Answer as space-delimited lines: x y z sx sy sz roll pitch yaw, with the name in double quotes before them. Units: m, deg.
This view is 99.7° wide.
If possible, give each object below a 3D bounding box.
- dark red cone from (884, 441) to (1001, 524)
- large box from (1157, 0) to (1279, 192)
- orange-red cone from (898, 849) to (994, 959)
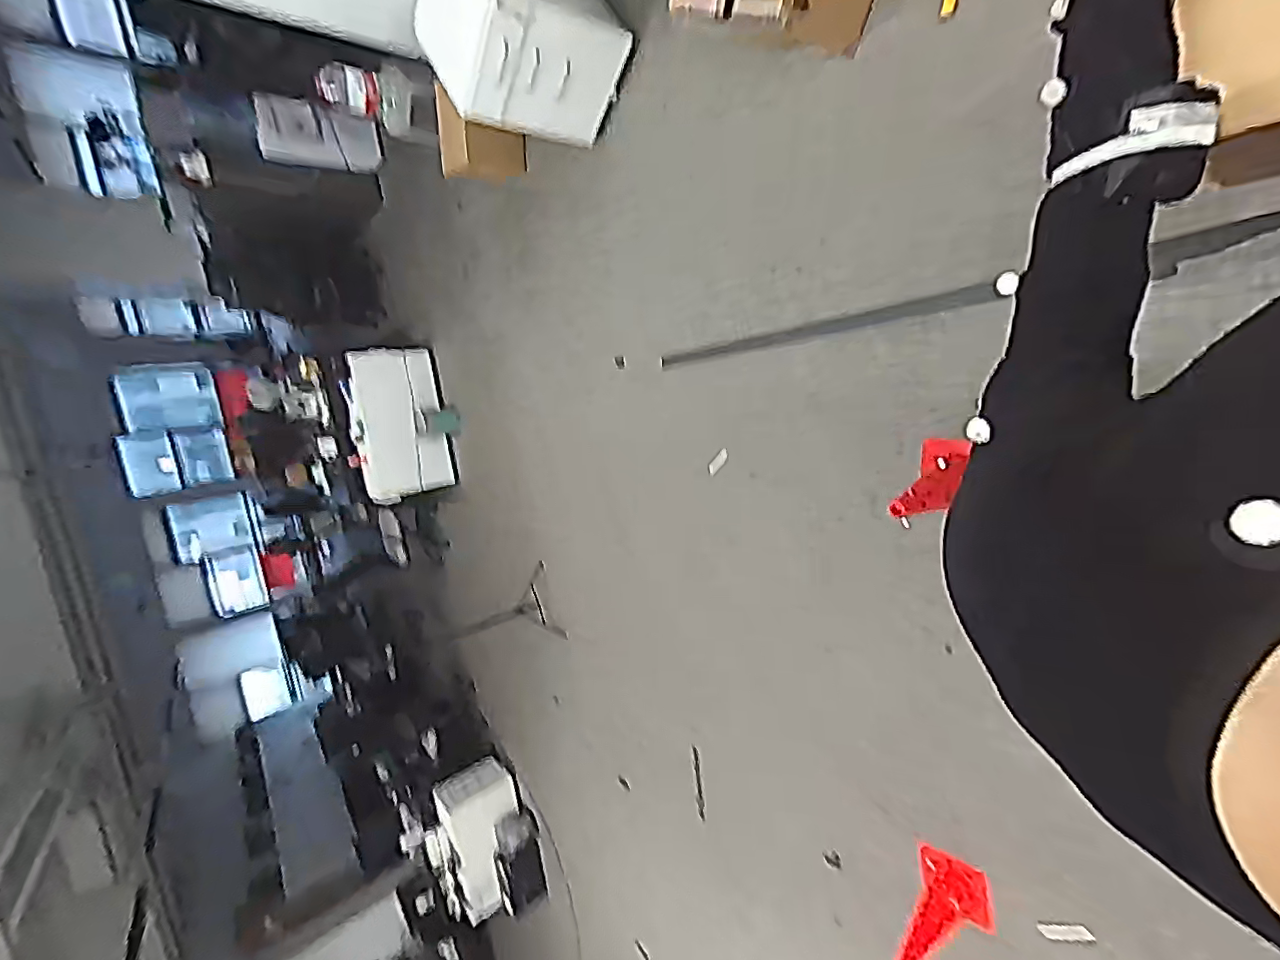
"dark red cone" 0.693 0.036 1.298 0.201 0.394 0.202 11 110 48
"large box" 0.595 -0.406 0.303 0.408 0.320 0.320 7 109 51
"orange-red cone" 0.841 1.301 1.561 0.198 0.360 0.199 -1 102 53
